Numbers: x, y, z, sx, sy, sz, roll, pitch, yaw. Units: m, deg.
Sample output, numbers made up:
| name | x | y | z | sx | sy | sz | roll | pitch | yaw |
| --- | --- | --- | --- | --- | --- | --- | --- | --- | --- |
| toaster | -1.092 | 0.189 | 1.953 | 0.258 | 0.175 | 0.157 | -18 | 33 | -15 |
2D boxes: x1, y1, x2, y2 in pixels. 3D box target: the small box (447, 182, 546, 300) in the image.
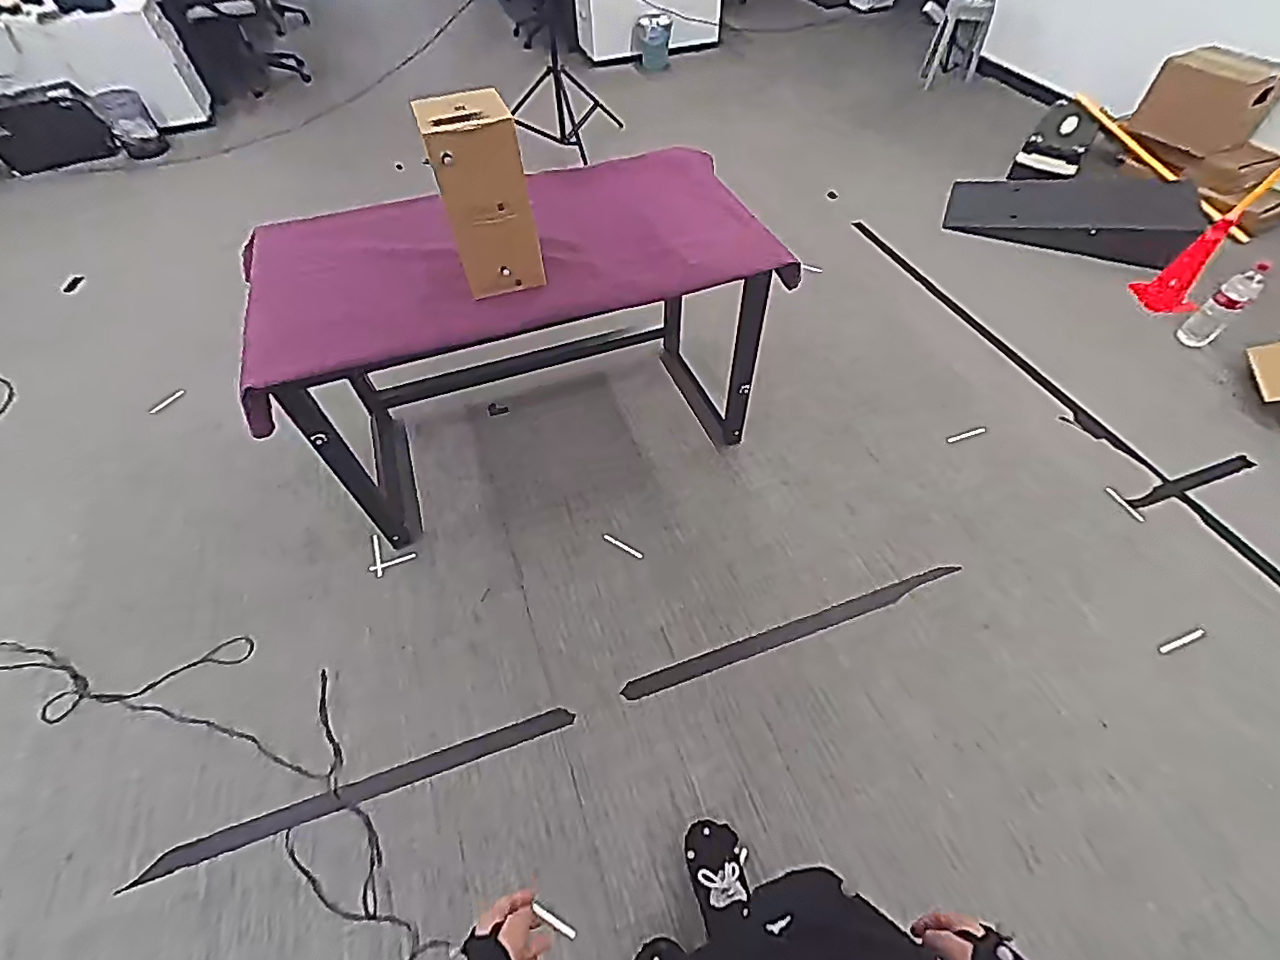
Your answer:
| name | x | y | z | sx | sy | sz | roll | pitch | yaw |
| --- | --- | --- | --- | --- | --- | --- | --- | --- | --- |
| small box | -0.317 | -0.531 | 1.204 | 0.168 | 0.176 | 0.179 | -16 | 54 | -9 |
